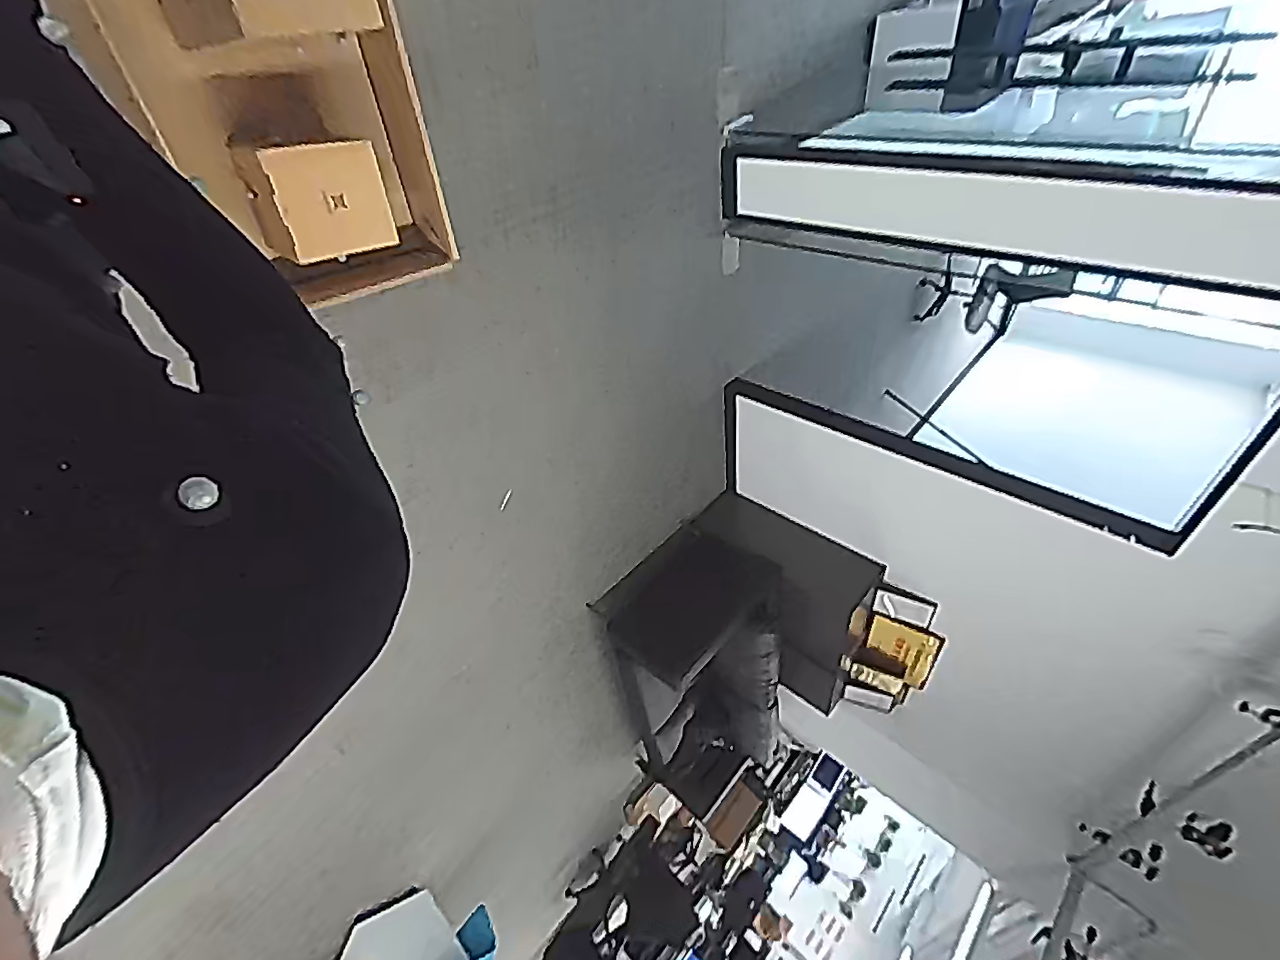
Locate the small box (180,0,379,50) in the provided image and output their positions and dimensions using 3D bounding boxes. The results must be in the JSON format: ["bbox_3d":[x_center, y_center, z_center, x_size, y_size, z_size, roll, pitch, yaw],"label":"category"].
[{"bbox_3d":[-0.467,-0.644,0.665,0.179,0.176,0.168,-37,138,-31],"label":"small box"}]

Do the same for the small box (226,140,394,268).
[{"bbox_3d":[-0.568,-0.485,0.939,0.179,0.176,0.168,-33,137,-34],"label":"small box"}]
